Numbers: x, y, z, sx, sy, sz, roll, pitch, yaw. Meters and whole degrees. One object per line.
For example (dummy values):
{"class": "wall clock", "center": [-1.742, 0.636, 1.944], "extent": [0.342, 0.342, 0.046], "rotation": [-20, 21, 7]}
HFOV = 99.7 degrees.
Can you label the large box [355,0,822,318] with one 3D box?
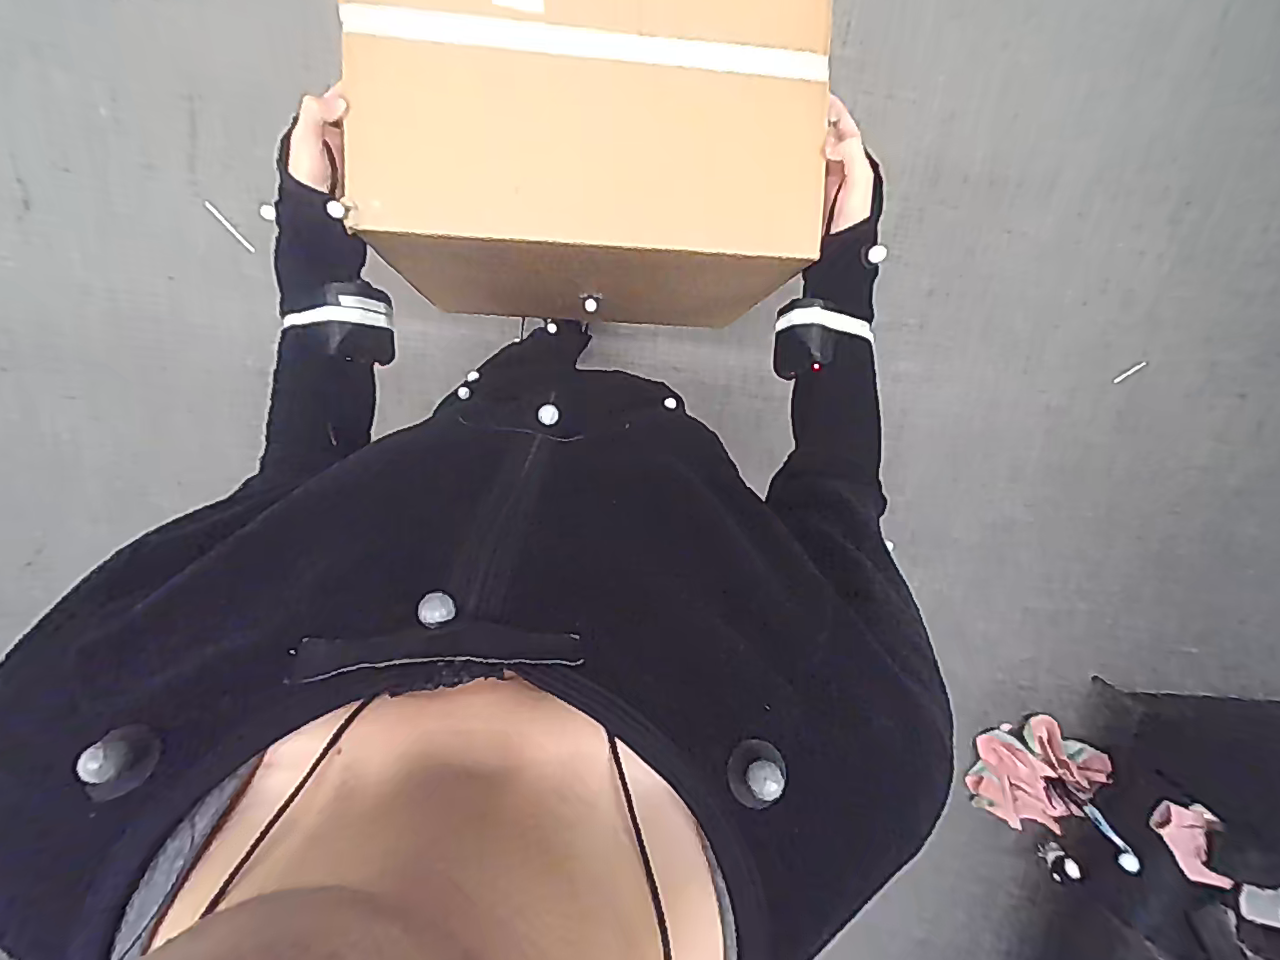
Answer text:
{"class": "large box", "center": [-0.050, -0.372, 0.611], "extent": [0.408, 0.320, 0.320], "rotation": [1, 94, -6]}
